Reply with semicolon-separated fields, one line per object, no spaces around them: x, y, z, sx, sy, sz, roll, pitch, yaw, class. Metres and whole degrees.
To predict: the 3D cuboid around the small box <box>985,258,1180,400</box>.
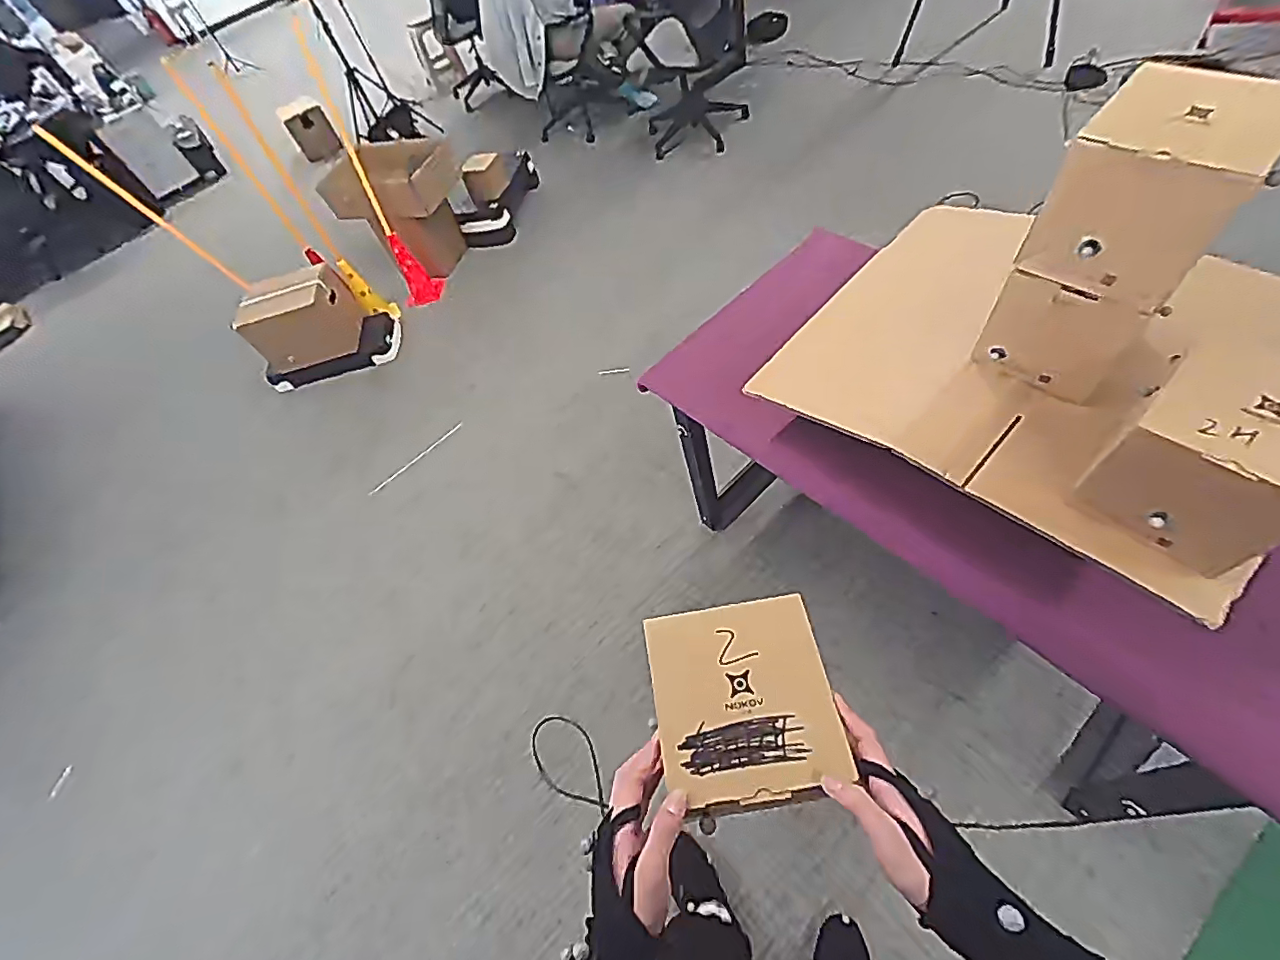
0.622;-0.245;0.759;0.179;0.176;0.168;-43;60;-16;small box

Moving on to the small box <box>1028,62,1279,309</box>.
0.598;-0.335;0.626;0.168;0.176;0.179;37;73;28;small box

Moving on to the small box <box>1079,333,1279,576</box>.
0.656;-0.025;0.614;0.179;0.176;0.168;-43;59;-15;small box
